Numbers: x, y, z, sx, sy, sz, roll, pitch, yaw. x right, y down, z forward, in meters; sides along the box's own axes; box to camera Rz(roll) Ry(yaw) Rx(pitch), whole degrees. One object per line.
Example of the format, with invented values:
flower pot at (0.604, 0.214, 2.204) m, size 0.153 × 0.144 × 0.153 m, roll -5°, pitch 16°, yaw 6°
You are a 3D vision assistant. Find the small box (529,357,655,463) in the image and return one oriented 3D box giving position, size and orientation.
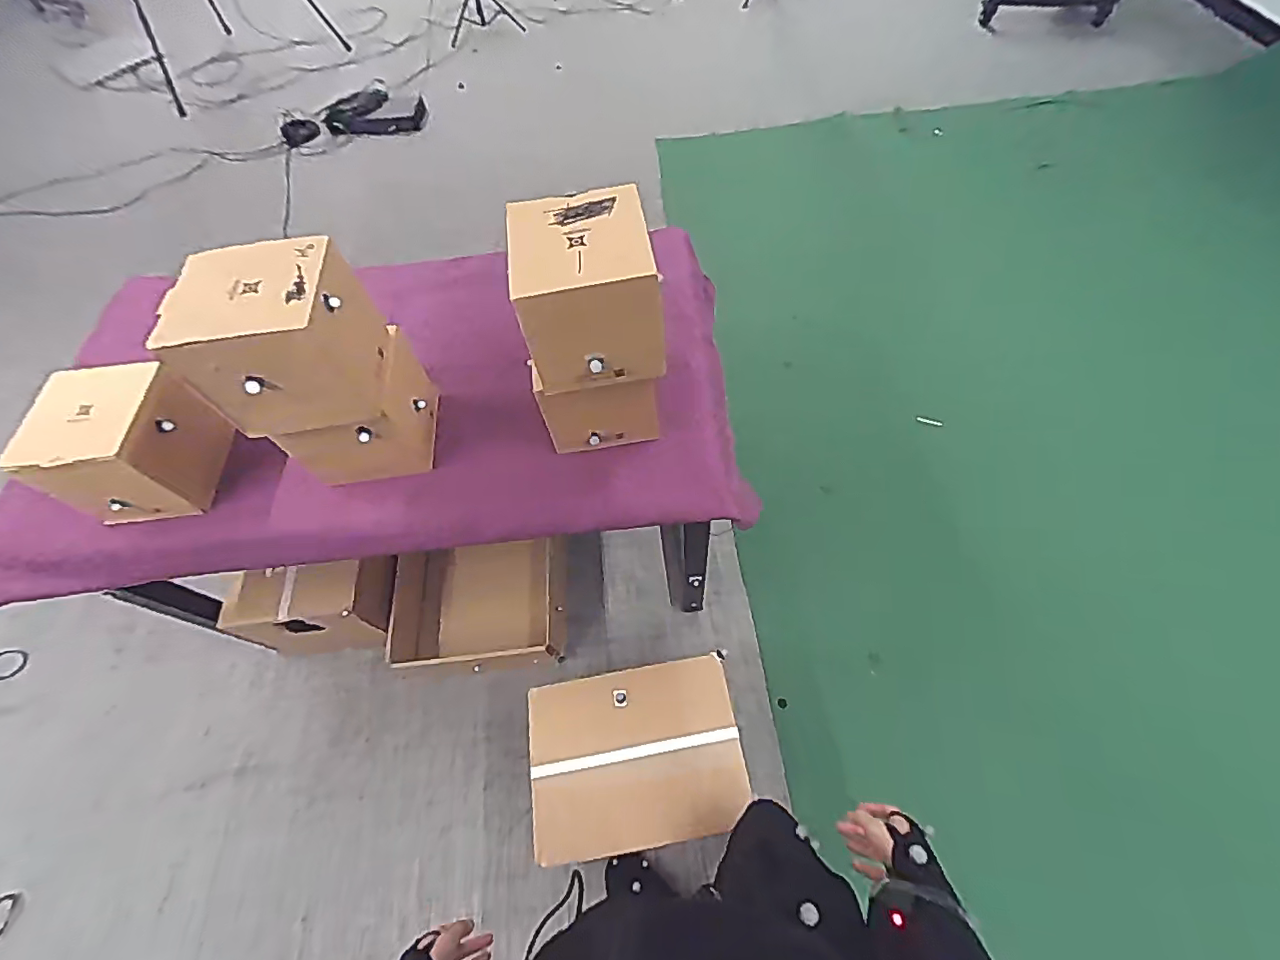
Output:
small box at (-0.073, -0.152, 0.844) m, size 0.168 × 0.176 × 0.179 m, roll -10°, pitch 58°, yaw 0°

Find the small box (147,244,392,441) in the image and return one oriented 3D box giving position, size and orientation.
small box at (-0.449, -0.167, 0.691) m, size 0.179 × 0.176 × 0.168 m, roll -9°, pitch 59°, yaw 0°

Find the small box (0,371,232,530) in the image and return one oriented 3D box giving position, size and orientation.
small box at (-0.783, -0.041, 0.836) m, size 0.168 × 0.176 × 0.179 m, roll -6°, pitch 59°, yaw 0°

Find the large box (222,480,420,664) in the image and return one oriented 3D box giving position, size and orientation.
large box at (-0.807, 0.242, 1.441) m, size 0.320 × 0.320 × 0.408 m, roll -7°, pitch 60°, yaw 0°

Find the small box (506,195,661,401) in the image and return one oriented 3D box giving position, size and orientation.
small box at (-0.068, -0.229, 0.697) m, size 0.168 × 0.176 × 0.179 m, roll -10°, pitch 58°, yaw 1°

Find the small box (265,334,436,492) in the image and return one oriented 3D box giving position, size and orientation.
small box at (-0.436, -0.098, 0.840) m, size 0.179 × 0.176 × 0.168 m, roll -8°, pitch 58°, yaw 0°
